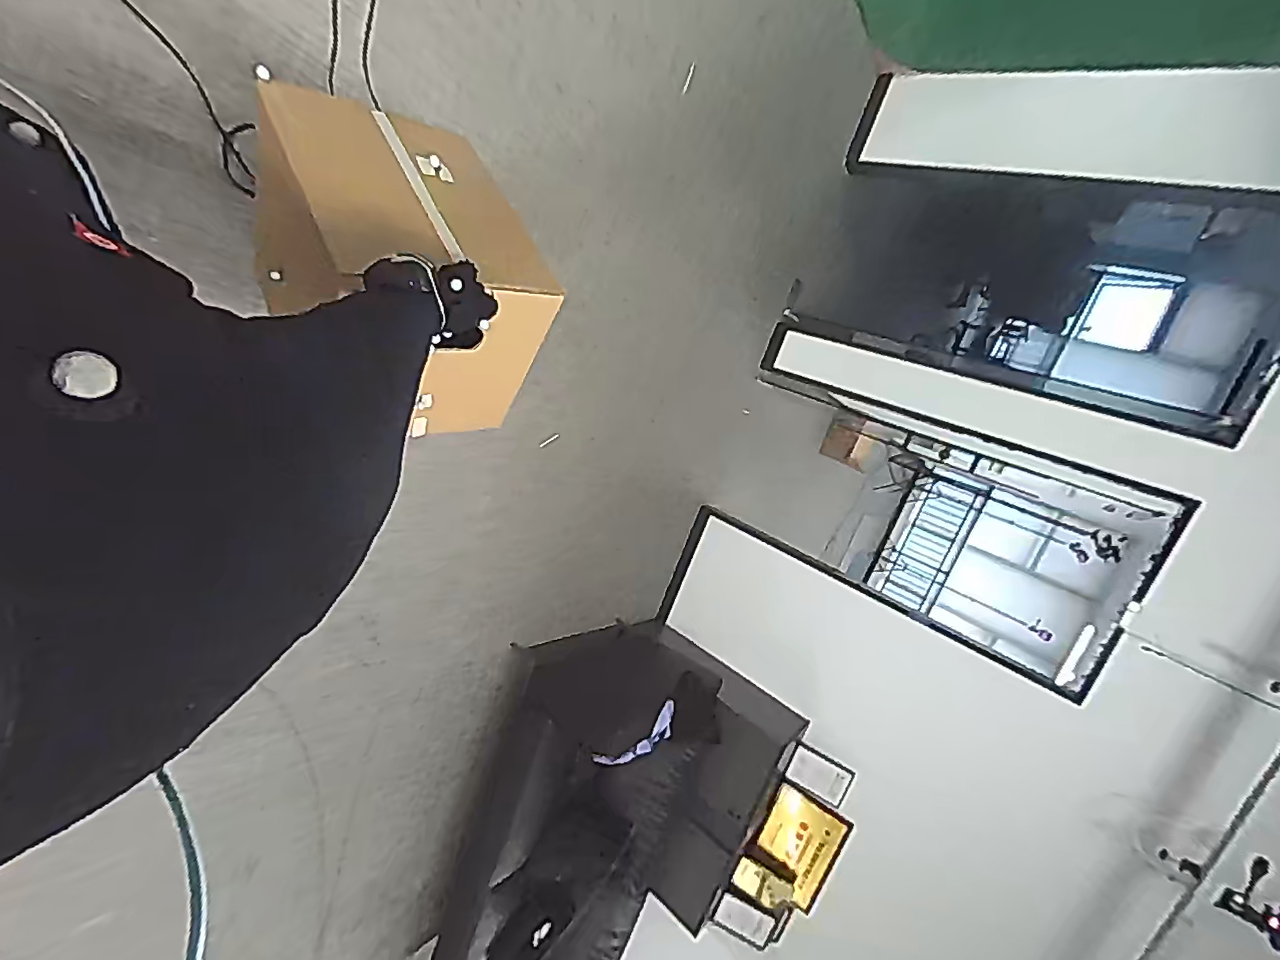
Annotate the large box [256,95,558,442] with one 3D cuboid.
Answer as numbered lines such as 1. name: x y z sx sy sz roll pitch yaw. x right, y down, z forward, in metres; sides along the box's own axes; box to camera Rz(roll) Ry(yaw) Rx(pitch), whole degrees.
1. large box: -0.402 -0.321 0.890 0.320 0.408 0.320 -11 151 -43
